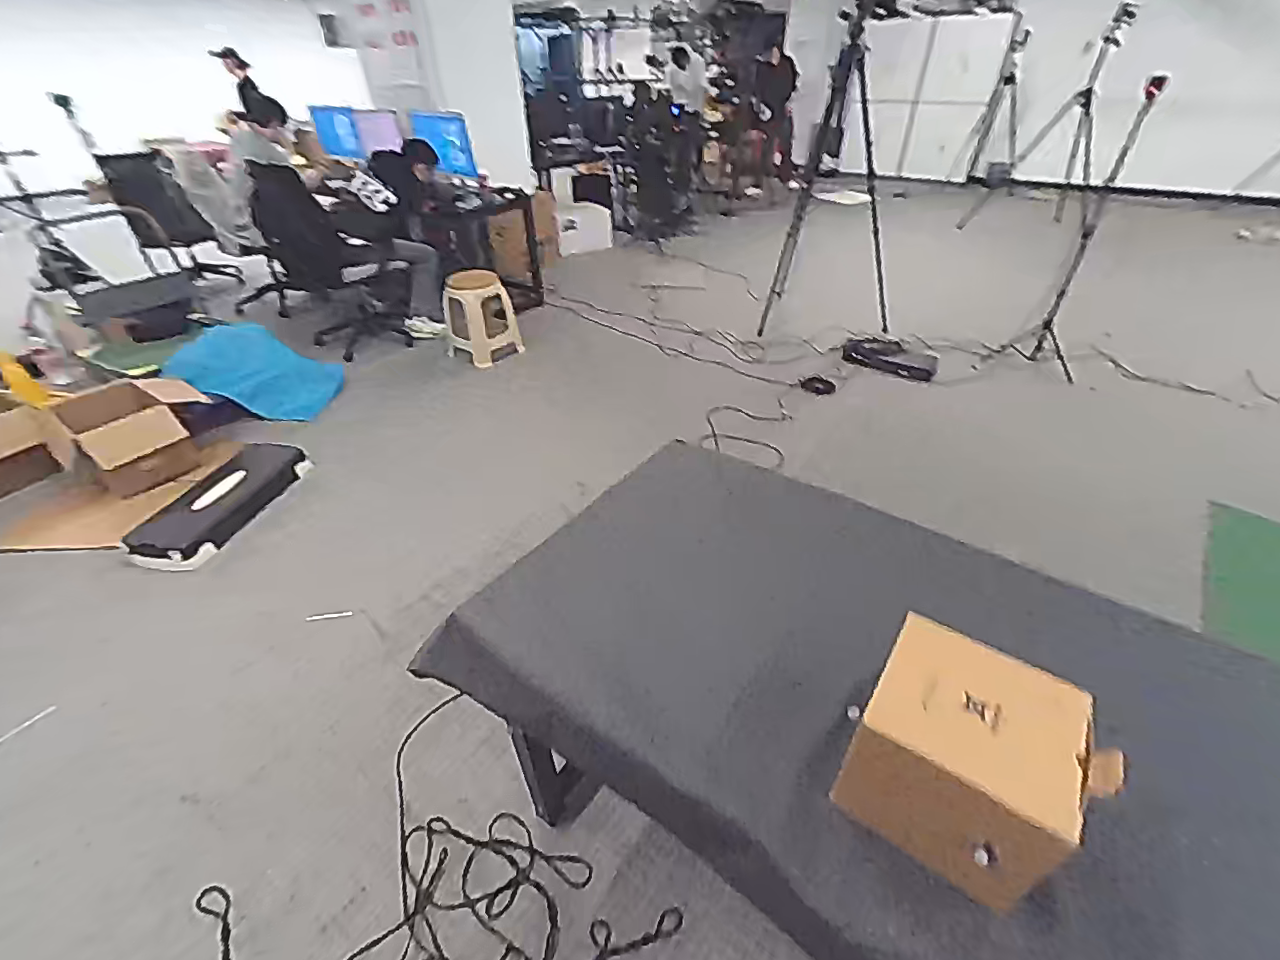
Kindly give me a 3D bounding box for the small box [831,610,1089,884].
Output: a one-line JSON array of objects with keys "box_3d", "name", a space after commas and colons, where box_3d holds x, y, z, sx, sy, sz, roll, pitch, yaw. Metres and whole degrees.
[{"box_3d": [0.326, 0.280, 0.571, 0.179, 0.176, 0.168, 23, 42, 30], "name": "small box"}]
